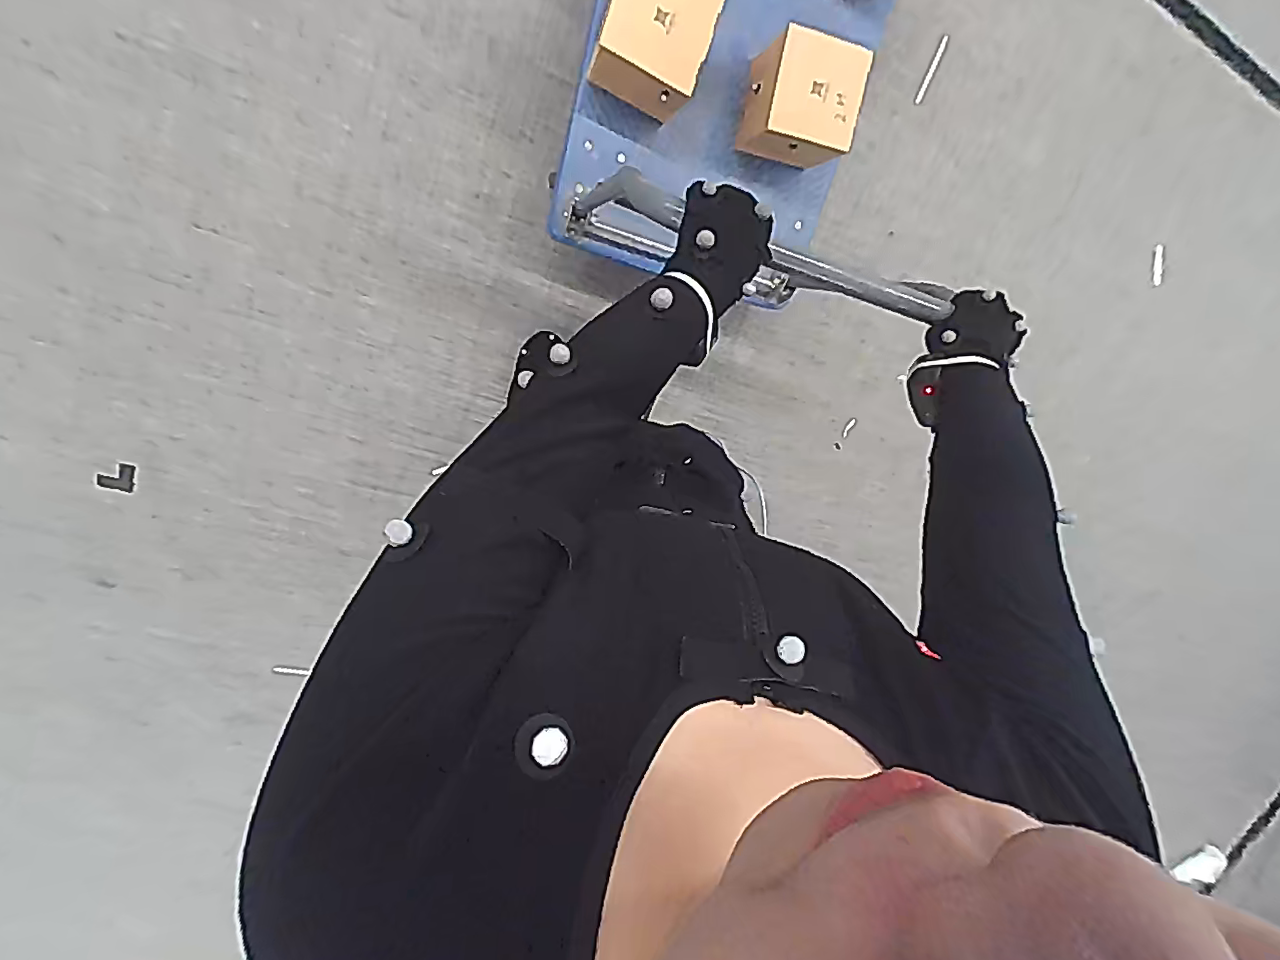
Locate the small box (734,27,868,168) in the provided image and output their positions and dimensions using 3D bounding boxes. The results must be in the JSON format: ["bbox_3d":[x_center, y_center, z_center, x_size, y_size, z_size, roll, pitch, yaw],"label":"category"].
[{"bbox_3d":[0.304,-0.734,1.061,0.179,0.176,0.168,6,109,-15],"label":"small box"}]

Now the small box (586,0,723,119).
[{"bbox_3d":[0.015,-0.789,0.972,0.179,0.176,0.168,17,105,-20],"label":"small box"}]
